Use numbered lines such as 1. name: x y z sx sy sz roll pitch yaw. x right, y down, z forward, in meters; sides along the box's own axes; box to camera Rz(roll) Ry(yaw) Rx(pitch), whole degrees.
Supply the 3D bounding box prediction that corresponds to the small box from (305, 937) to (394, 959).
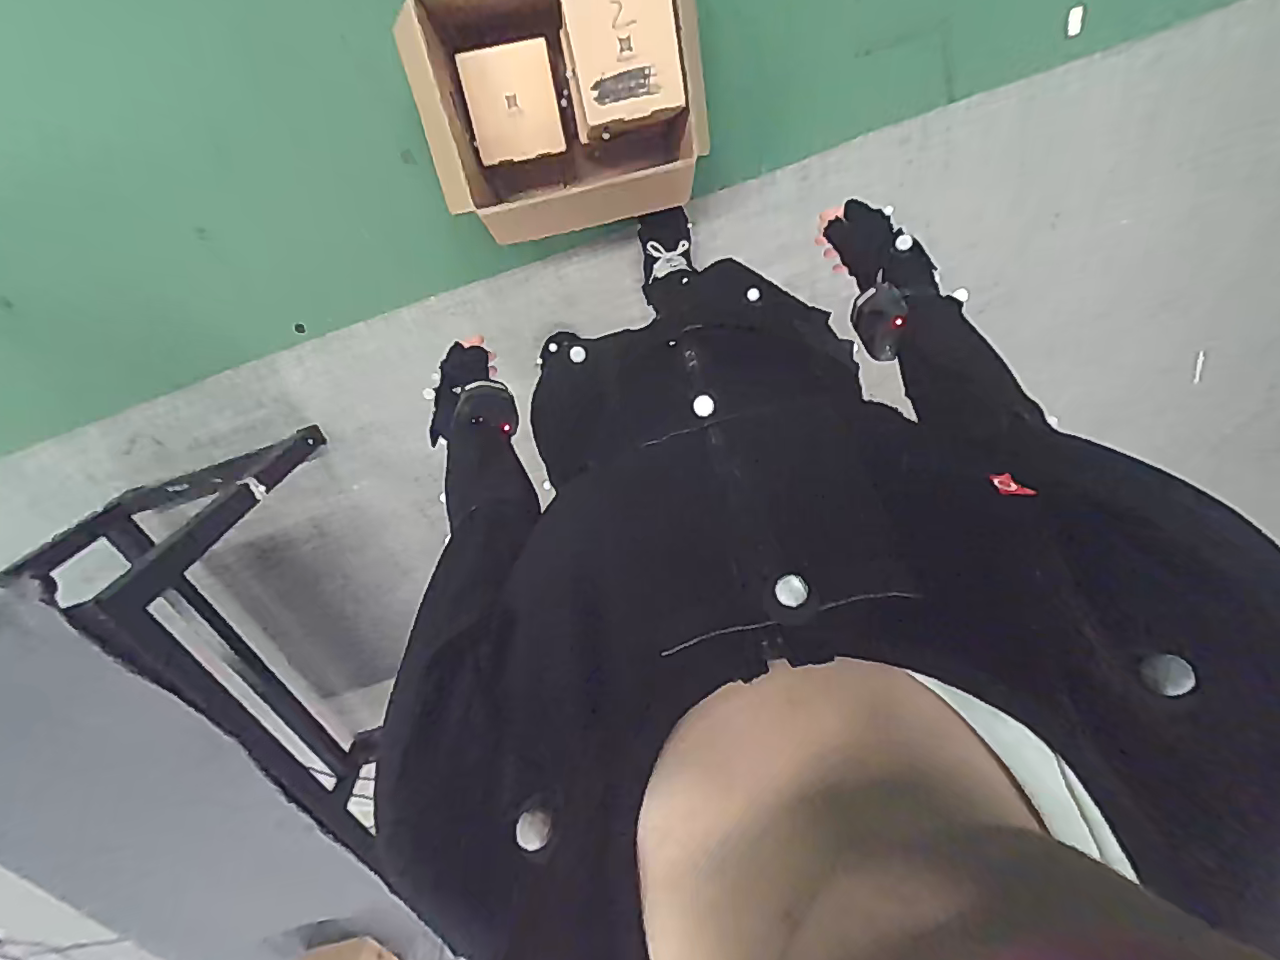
1. small box: -0.672 1.167 1.203 0.179 0.176 0.168 -19 117 6
